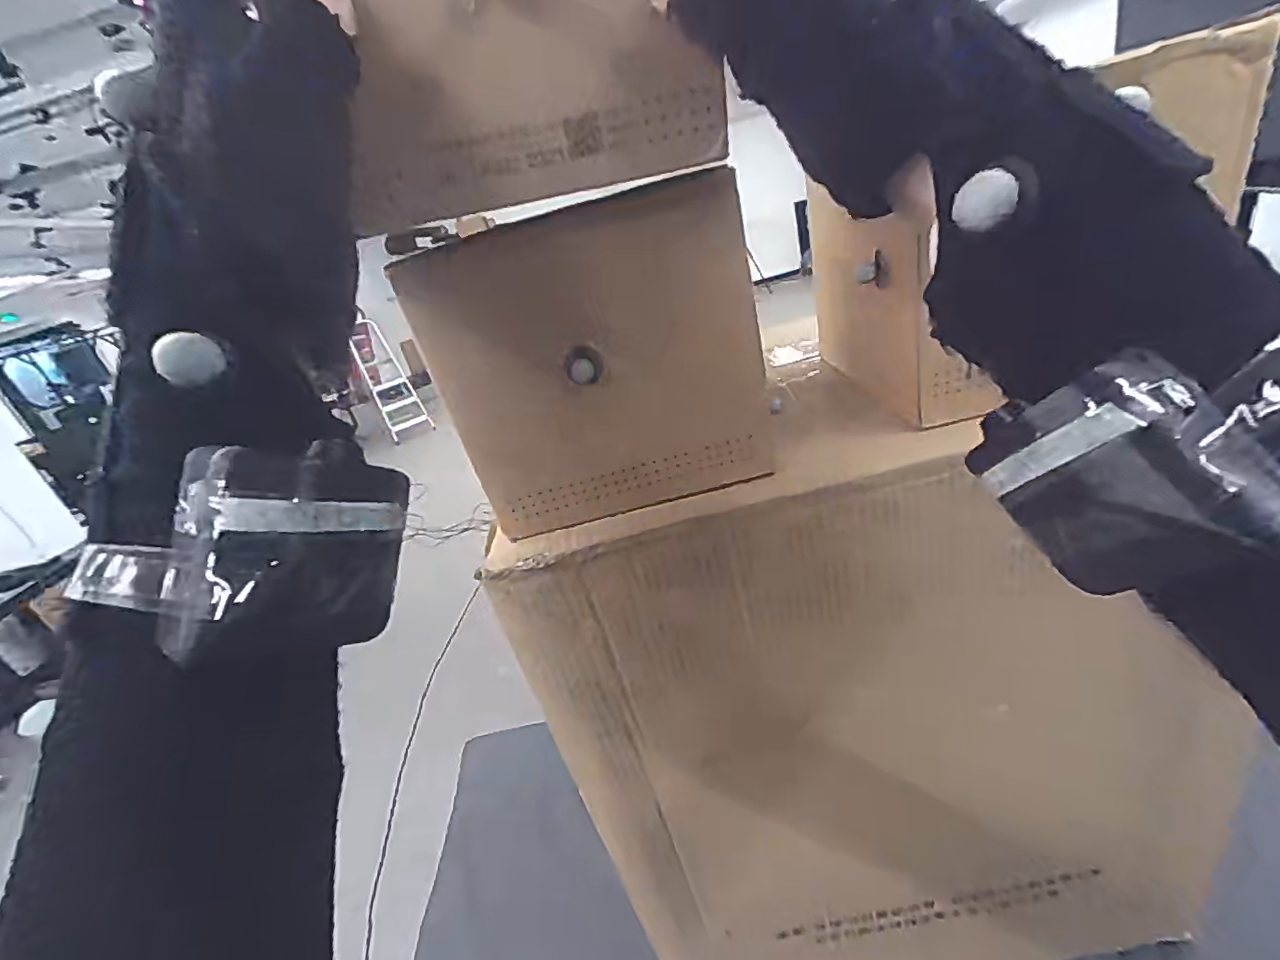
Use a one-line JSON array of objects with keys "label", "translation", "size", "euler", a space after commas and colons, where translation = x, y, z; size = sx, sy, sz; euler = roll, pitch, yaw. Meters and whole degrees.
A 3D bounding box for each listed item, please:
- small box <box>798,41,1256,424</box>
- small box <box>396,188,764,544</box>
[{"label": "small box", "translation": [0.219, -0.148, 0.362], "size": [0.168, 0.176, 0.179], "euler": [-12, 26, 3]}, {"label": "small box", "translation": [-0.024, -0.083, 0.363], "size": [0.179, 0.176, 0.168], "euler": [-15, 28, 0]}]
